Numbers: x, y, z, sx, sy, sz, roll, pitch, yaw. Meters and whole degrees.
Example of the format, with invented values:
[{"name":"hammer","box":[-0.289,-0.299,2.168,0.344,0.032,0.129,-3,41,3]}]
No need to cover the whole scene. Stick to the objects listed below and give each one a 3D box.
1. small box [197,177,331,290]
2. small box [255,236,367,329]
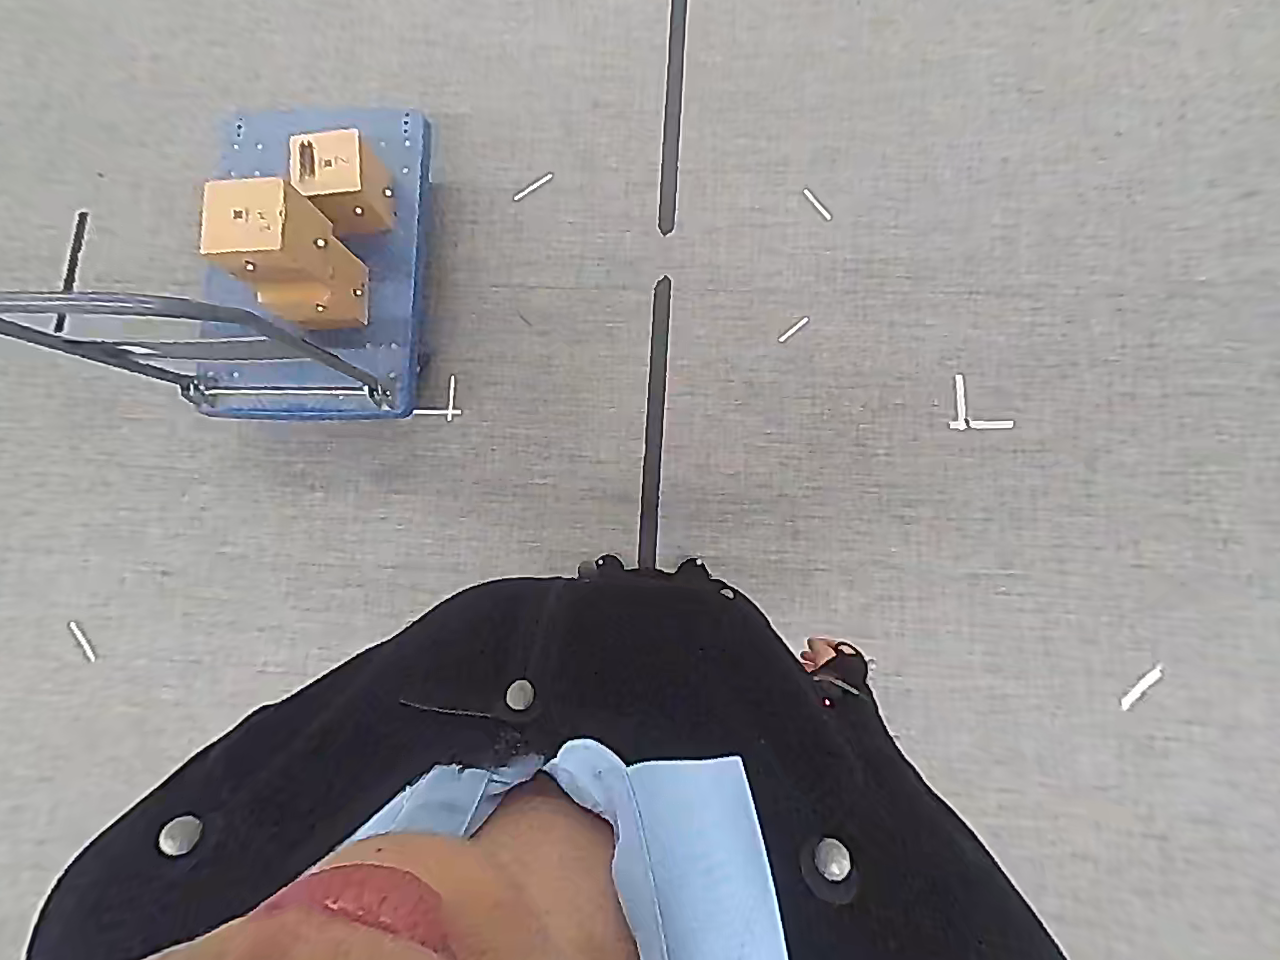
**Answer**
[{"name":"small box","box":[-0.821,-0.535,1.193,0.179,0.176,0.168,-2,83,1]},{"name":"small box","box":[-0.816,-0.489,1.353,0.179,0.176,0.168,-3,83,1]}]
